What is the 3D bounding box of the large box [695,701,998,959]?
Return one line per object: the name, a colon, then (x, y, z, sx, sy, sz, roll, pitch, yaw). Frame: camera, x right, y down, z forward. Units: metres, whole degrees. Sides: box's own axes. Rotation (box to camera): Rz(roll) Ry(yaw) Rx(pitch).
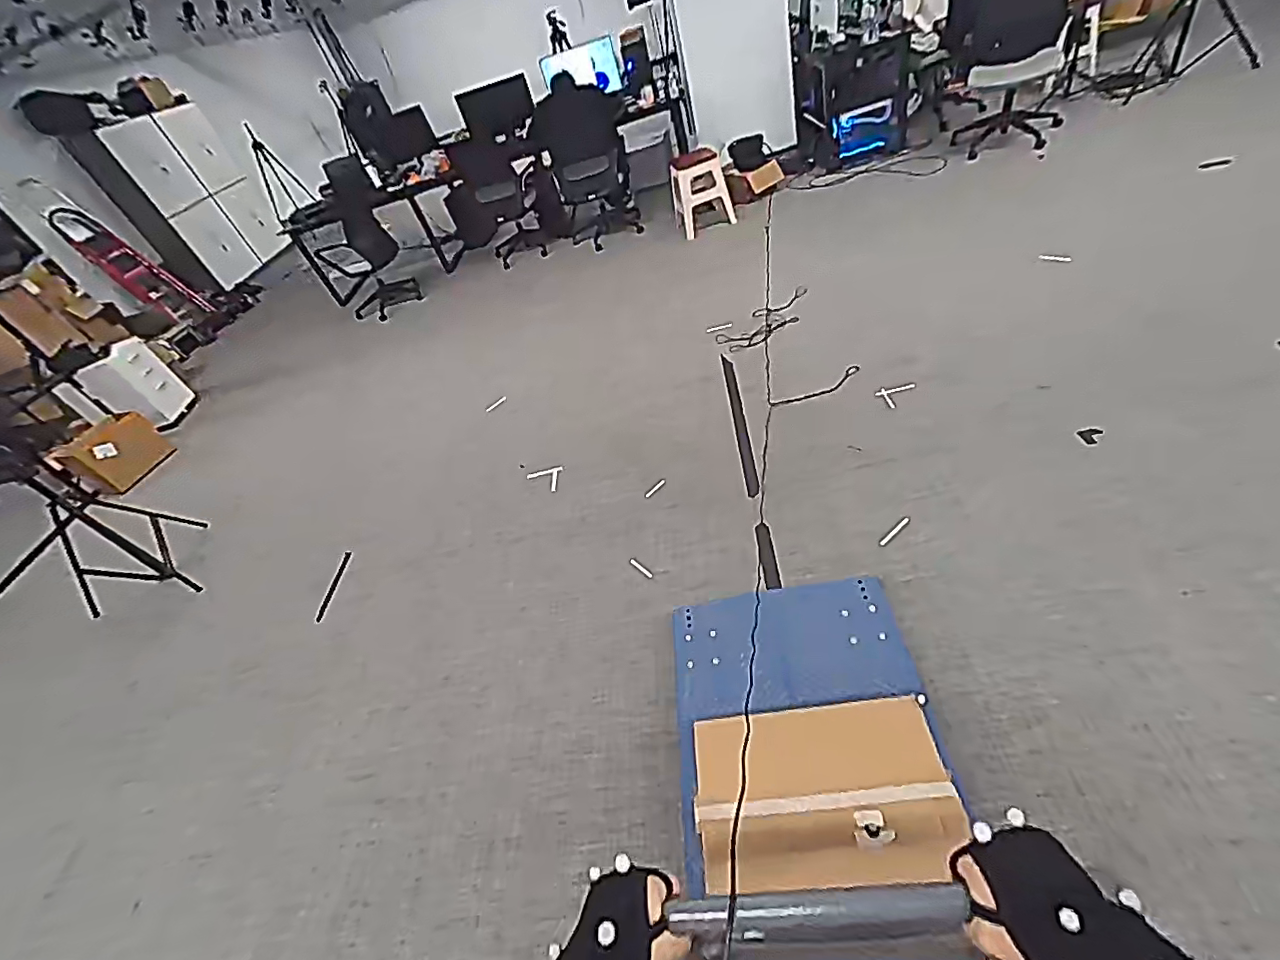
large box: (0.333, 0.639, 0.969, 0.408, 0.320, 0.320, -11, 41, 10)
